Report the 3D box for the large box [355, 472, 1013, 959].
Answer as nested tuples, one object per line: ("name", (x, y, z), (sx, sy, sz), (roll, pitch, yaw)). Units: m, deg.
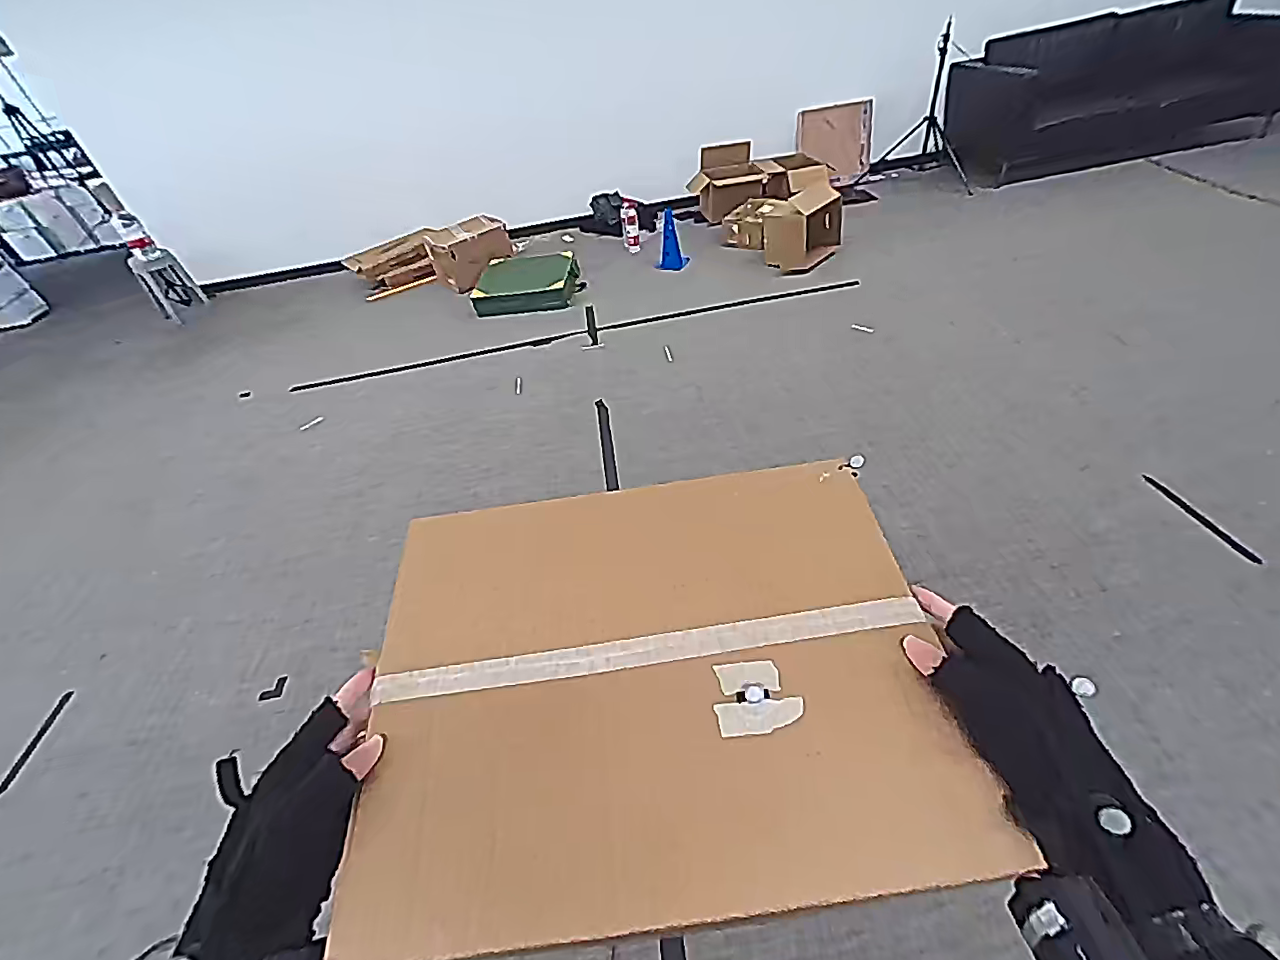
("large box", (0.021, 0.231, 0.524), (0.408, 0.320, 0.320), (-8, 50, -1))
